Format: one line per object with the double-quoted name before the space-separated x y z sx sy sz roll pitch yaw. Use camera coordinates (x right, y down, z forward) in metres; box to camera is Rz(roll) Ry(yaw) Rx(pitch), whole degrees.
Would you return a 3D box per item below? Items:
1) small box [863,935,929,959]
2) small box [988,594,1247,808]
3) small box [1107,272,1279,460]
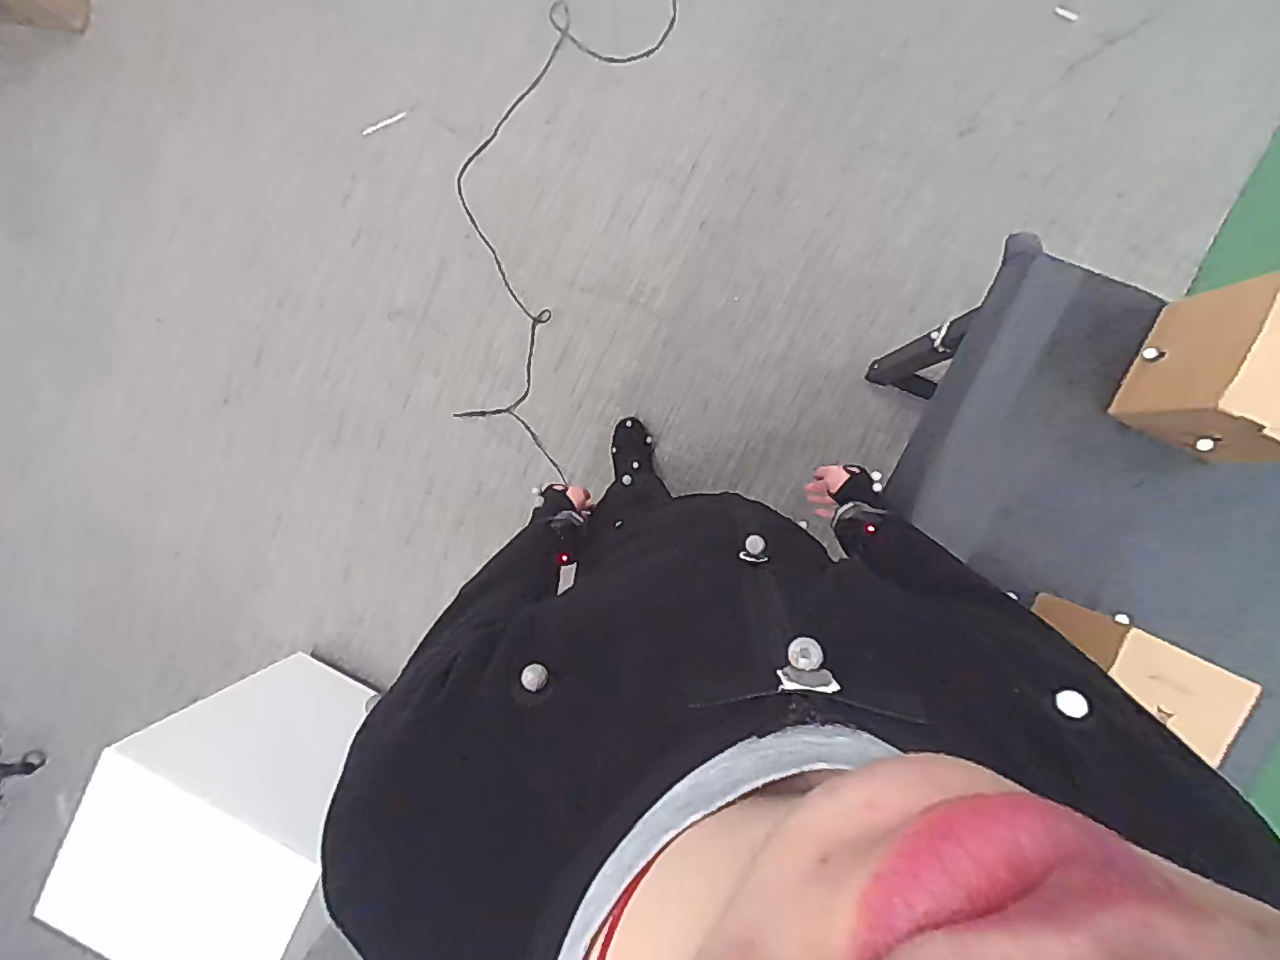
"small box" 0.397 0.802 0.752 0.168 0.176 0.179 27 94 2
"small box" 0.613 0.280 0.724 0.168 0.176 0.179 25 92 0
"small box" 0.767 -0.131 0.697 0.168 0.176 0.179 25 95 1
